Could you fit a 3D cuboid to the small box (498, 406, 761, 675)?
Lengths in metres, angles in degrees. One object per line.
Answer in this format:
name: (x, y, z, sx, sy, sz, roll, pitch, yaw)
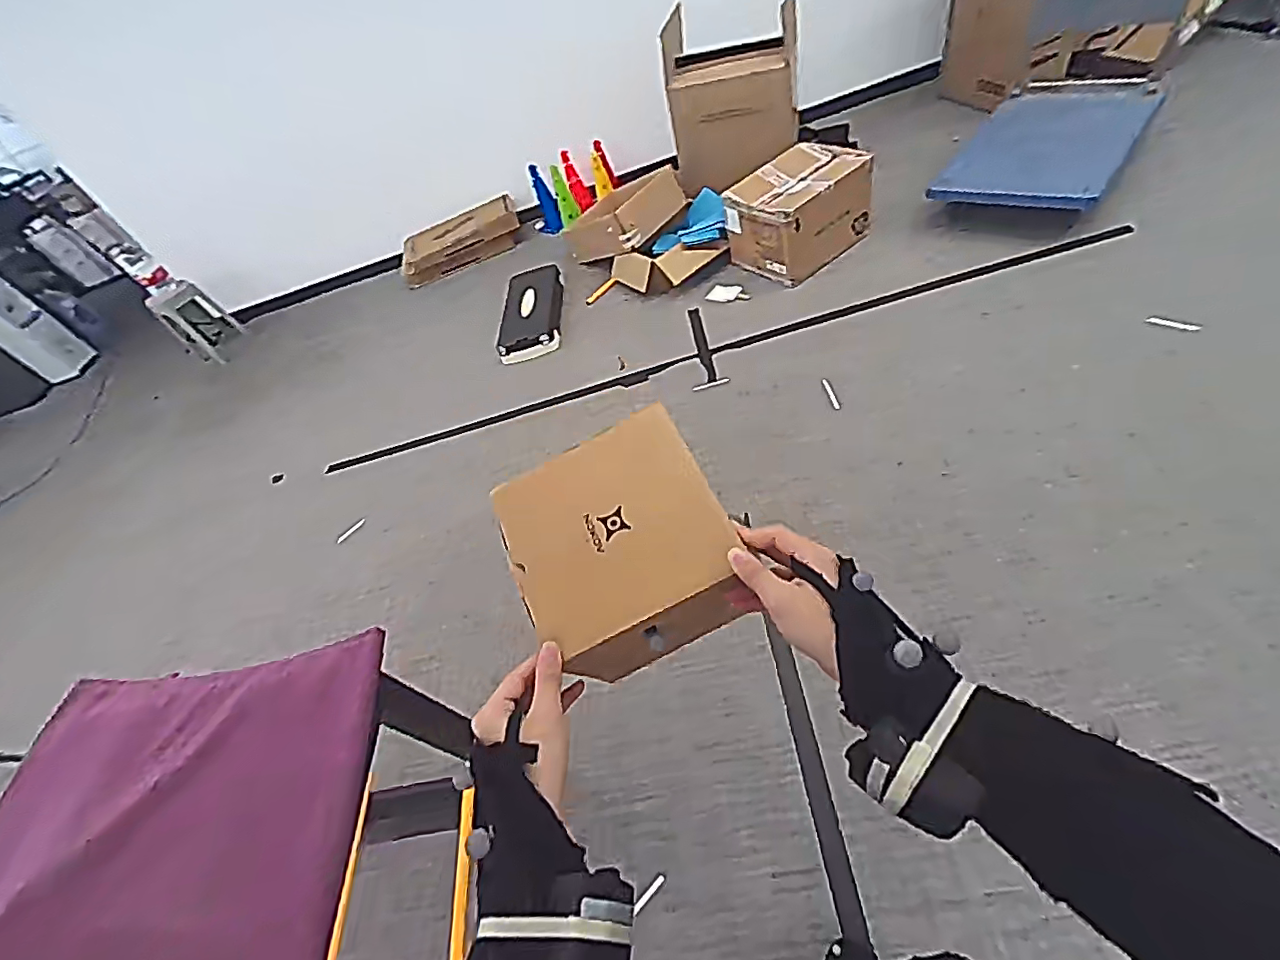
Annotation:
small box: (0.000, 0.068, 0.510, 0.179, 0.176, 0.168, -28, 62, 3)
